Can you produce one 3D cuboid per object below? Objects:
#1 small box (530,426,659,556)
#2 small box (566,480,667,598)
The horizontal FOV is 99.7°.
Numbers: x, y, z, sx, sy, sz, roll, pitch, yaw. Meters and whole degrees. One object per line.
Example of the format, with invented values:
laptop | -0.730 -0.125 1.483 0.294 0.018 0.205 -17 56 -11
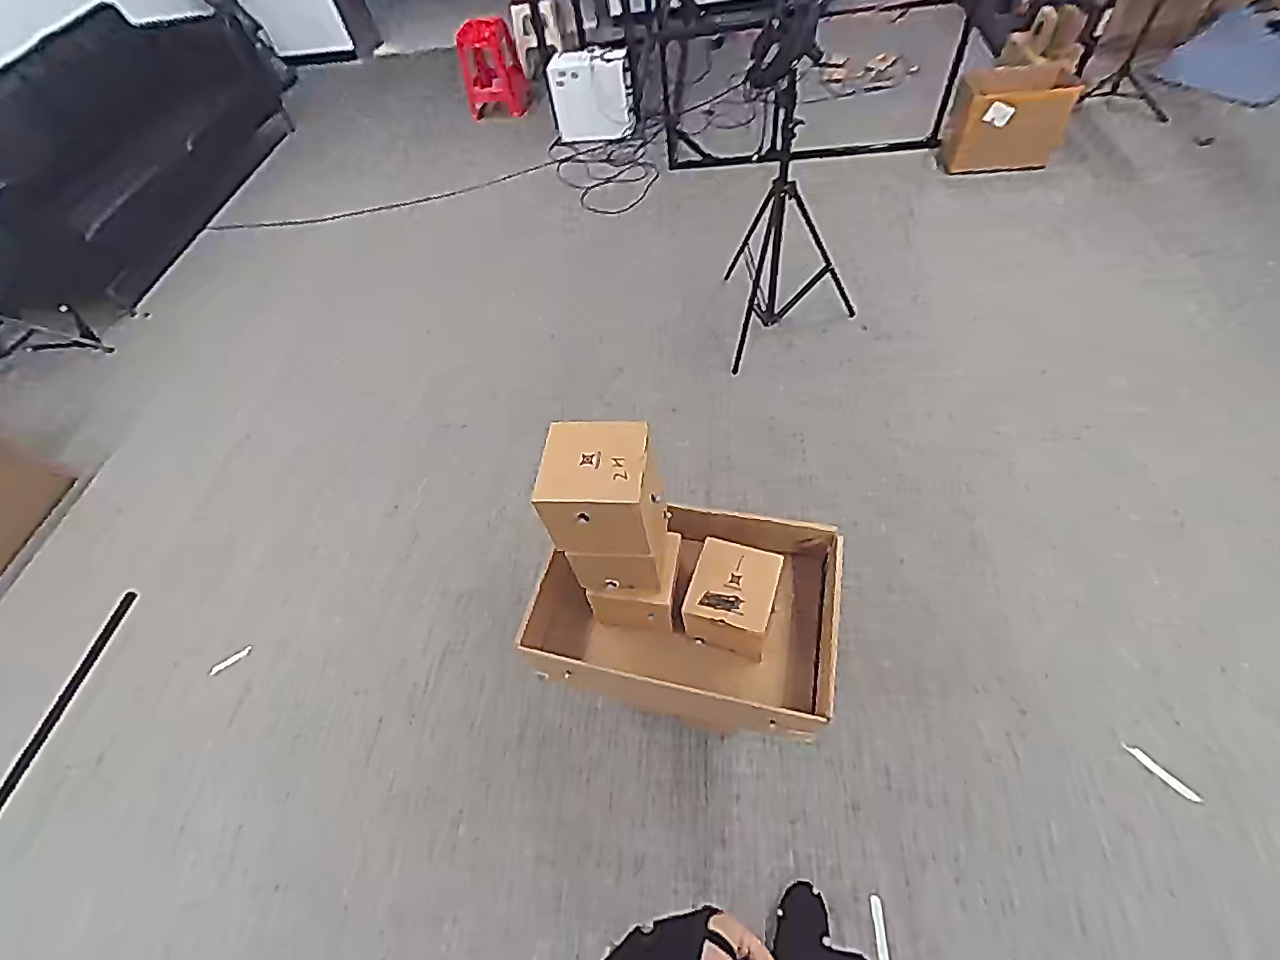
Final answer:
small box | -0.068 0.022 0.938 0.179 0.176 0.168 1 56 9
small box | -0.037 0.115 1.069 0.168 0.176 0.179 1 55 9
